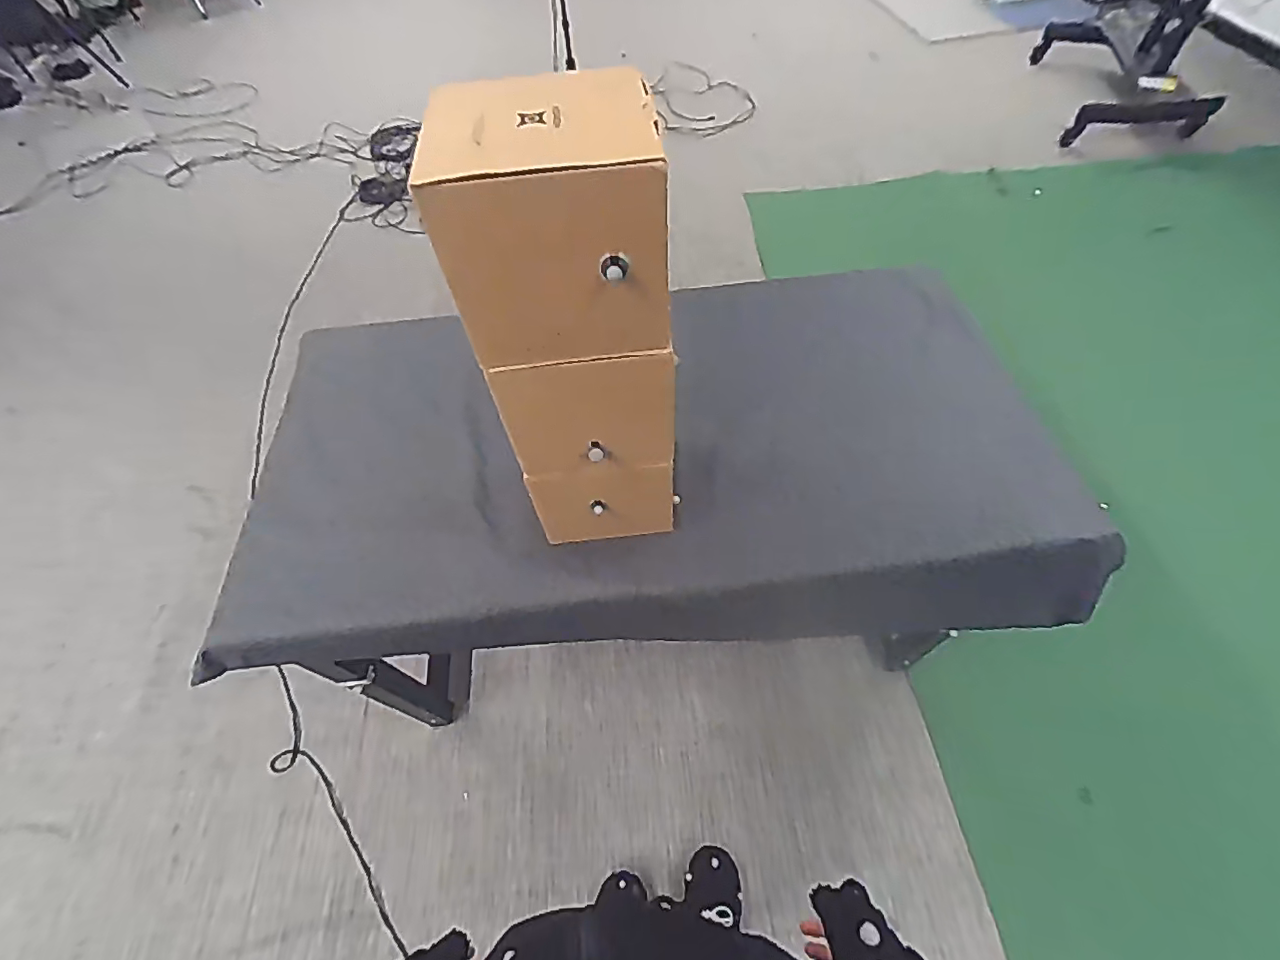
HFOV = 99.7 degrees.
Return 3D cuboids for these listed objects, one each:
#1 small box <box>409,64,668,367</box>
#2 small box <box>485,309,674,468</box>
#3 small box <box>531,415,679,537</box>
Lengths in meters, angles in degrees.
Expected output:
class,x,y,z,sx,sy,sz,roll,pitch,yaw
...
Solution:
class,x,y,z,sx,sy,sz,roll,pitch,yaw
small box,-0.072,-0.220,0.469,0.179,0.176,0.168,-8,56,0
small box,-0.059,-0.129,0.603,0.179,0.176,0.168,-6,57,-1
small box,-0.049,-0.037,0.737,0.179,0.176,0.168,-8,57,-3
